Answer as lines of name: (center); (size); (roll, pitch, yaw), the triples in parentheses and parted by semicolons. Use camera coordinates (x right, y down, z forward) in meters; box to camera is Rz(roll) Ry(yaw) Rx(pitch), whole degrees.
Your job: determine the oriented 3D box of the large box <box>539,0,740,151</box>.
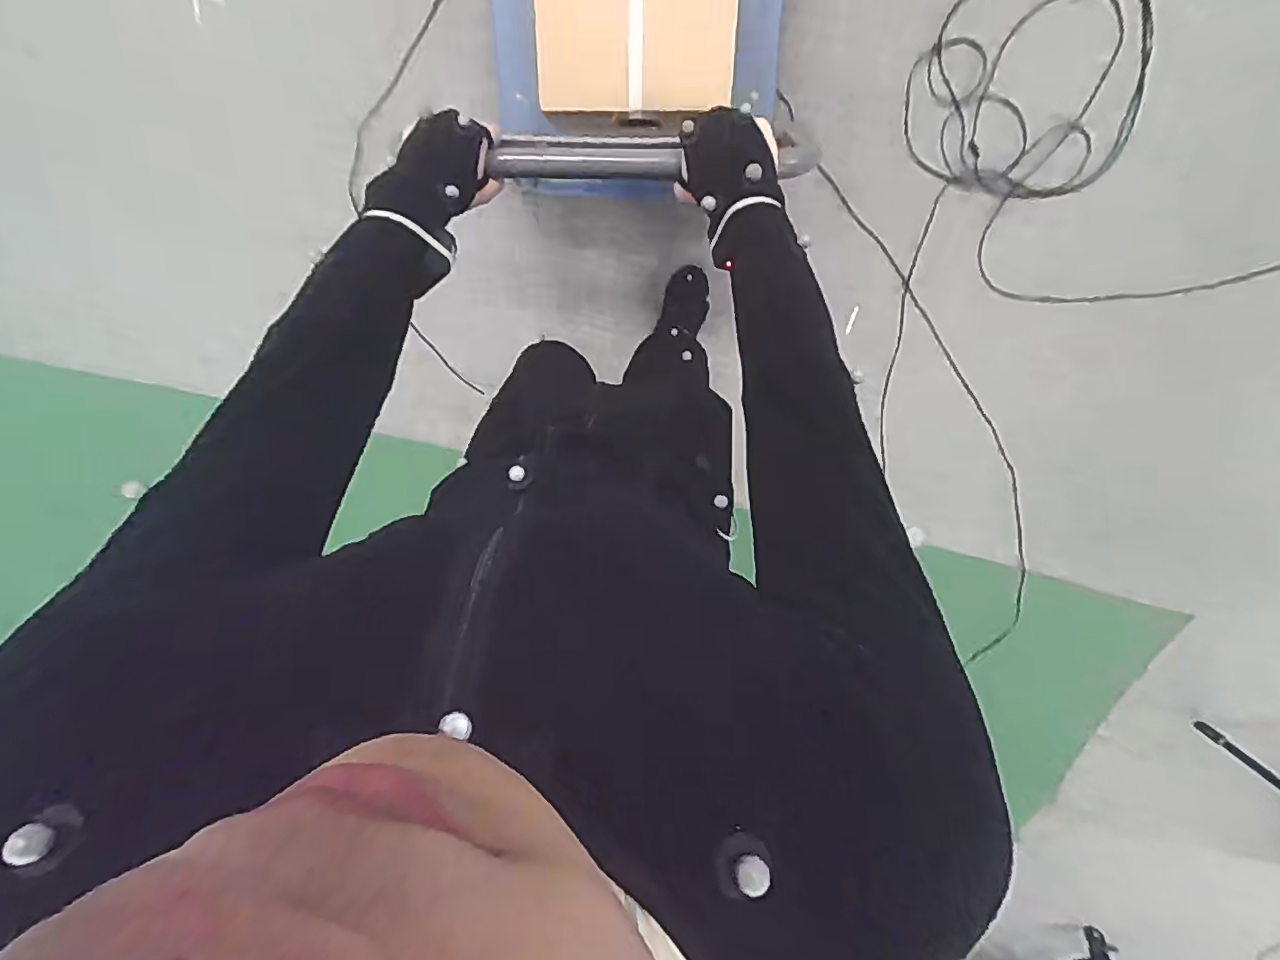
large box: (0.007, -0.836, 0.947); (0.320, 0.320, 0.408); (2, 112, 2)
